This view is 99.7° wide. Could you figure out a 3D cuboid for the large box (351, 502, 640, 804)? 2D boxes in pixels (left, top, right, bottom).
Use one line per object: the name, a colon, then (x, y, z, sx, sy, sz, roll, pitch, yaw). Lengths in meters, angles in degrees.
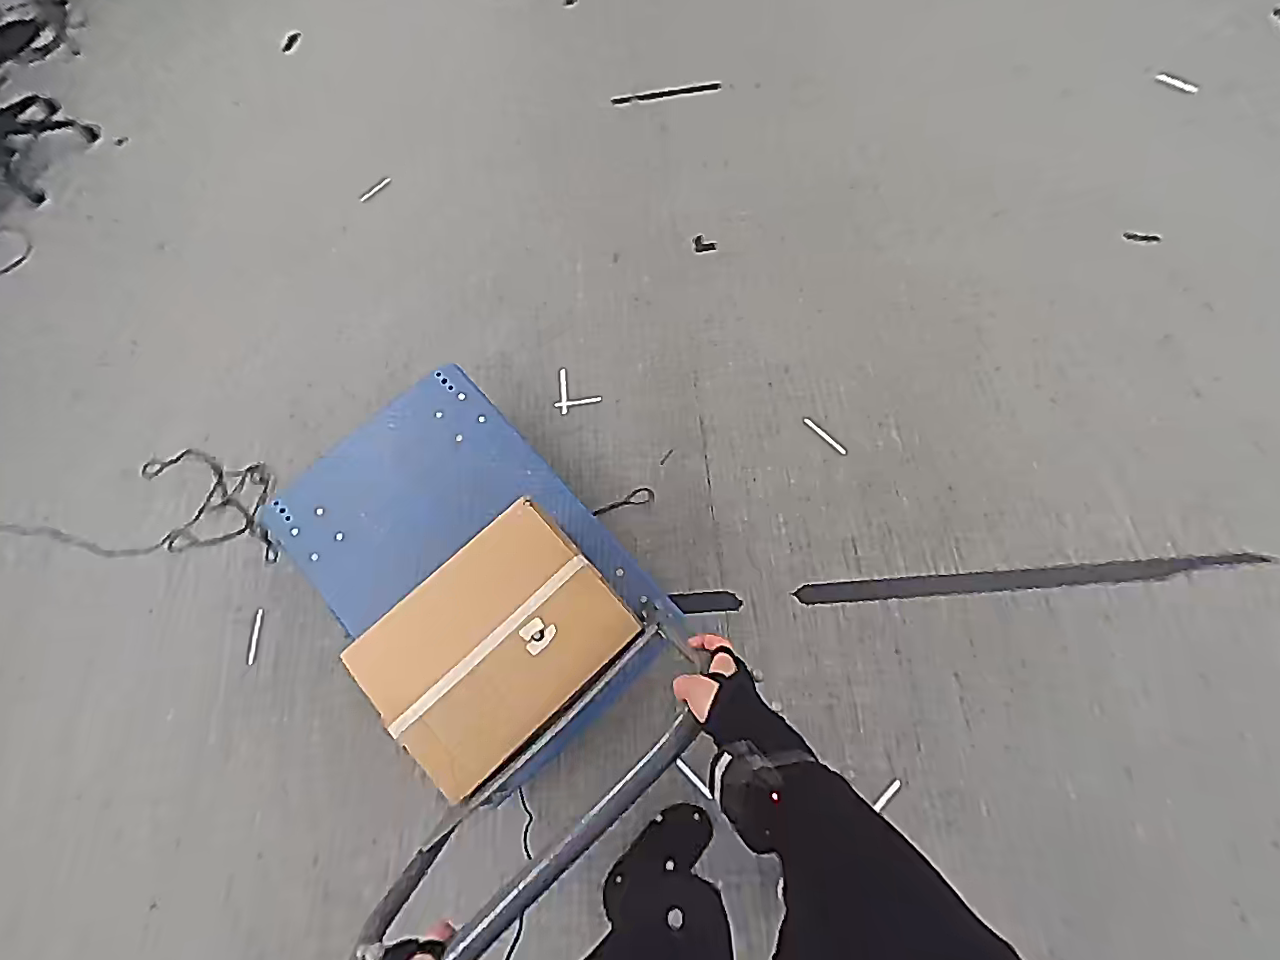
large box: (-0.244, 0.314, 1.055, 0.408, 0.320, 0.320, -43, 80, -10)
